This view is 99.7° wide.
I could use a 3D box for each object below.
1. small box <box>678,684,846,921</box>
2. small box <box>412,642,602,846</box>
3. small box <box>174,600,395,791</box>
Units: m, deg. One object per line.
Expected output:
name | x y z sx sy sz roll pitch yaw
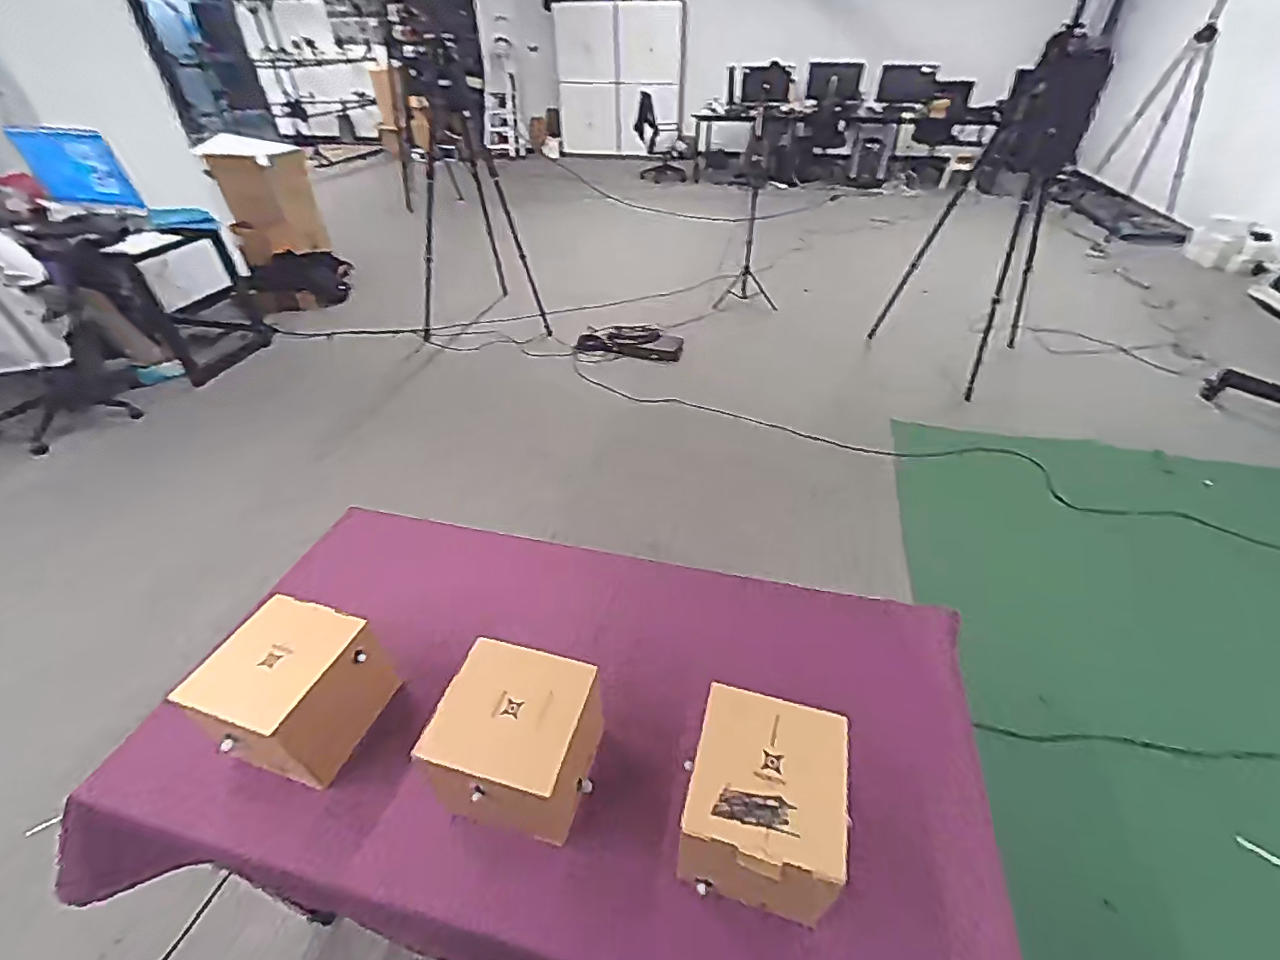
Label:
small box | 0.145 0.385 0.650 0.168 0.176 0.179 10 39 14
small box | -0.159 0.346 0.713 0.179 0.176 0.168 10 41 13
small box | -0.485 0.307 0.773 0.168 0.176 0.179 10 40 14
